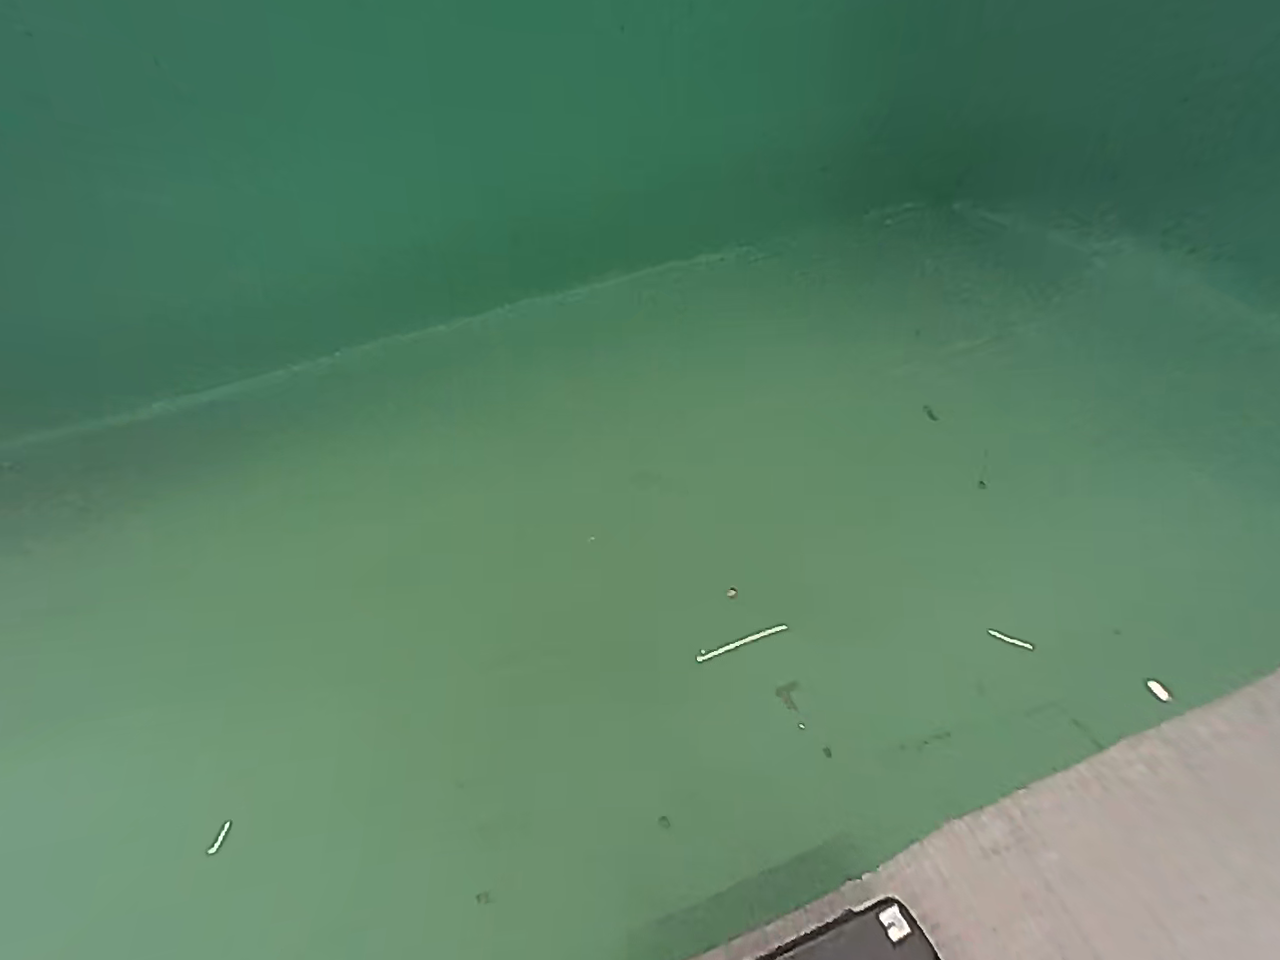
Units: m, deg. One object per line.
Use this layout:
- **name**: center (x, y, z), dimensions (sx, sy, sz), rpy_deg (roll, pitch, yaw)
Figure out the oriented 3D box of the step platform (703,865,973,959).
- **step platform**: center (0.266, 0.979, 0.957), dimensions (0.684, 0.204, 0.286), rpy_deg (-19, 50, -9)
